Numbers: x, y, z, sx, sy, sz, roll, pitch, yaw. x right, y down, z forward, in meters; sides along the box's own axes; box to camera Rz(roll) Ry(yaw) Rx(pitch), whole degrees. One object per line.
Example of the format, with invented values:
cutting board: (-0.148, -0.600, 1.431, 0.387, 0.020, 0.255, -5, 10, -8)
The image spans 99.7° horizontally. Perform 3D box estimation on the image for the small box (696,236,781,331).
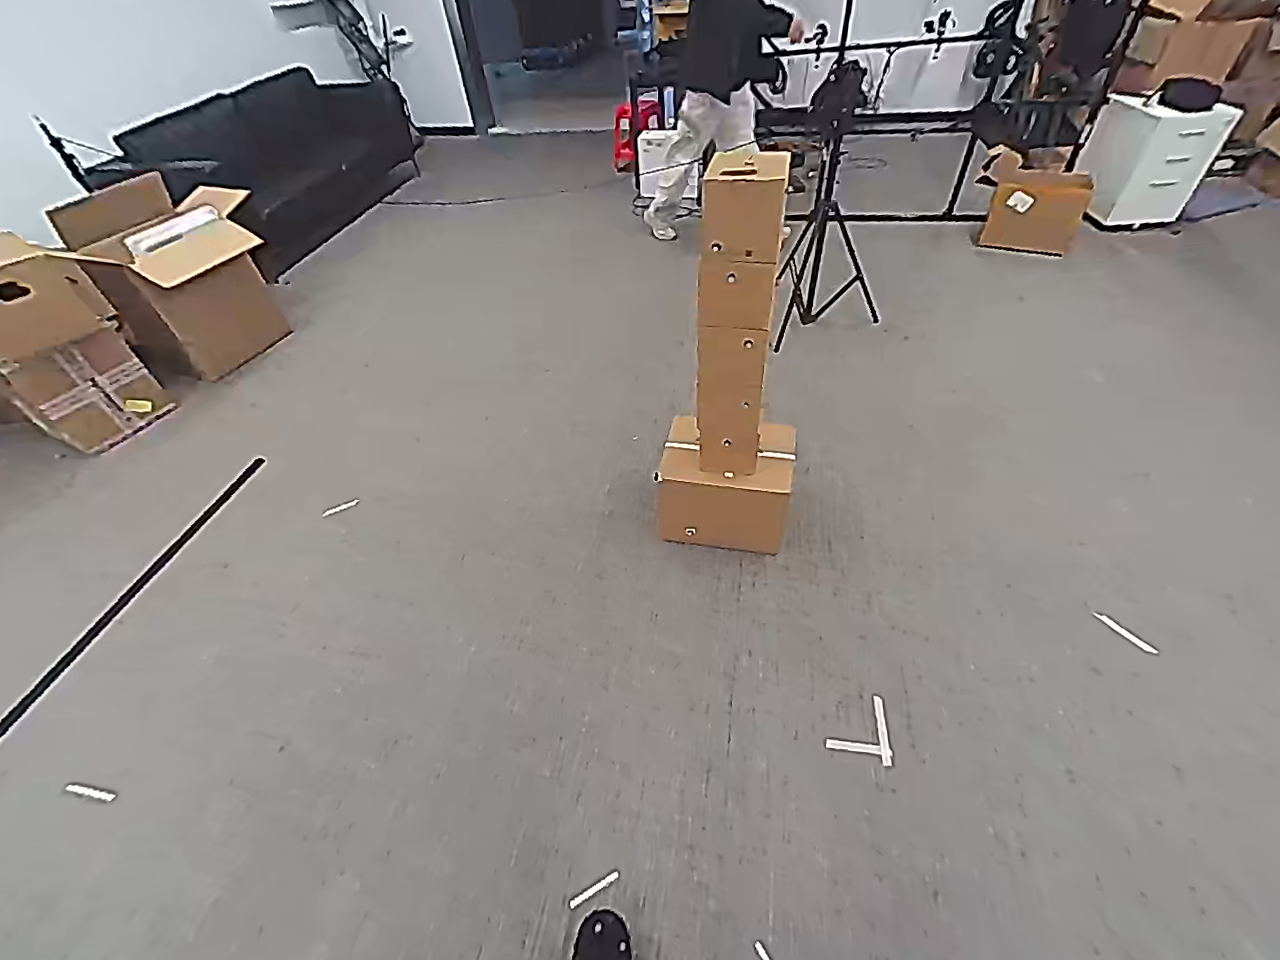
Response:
small box: (0.234, -0.475, 1.300, 0.179, 0.176, 0.168, 7, 48, 13)

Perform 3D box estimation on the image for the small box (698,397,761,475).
small box: (0.271, -0.133, 1.649, 0.179, 0.176, 0.168, 5, 48, 9)

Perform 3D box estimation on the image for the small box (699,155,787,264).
small box: (0.225, -0.589, 1.182, 0.168, 0.176, 0.179, 7, 47, 13)

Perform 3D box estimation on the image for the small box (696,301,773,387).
small box: (0.246, -0.362, 1.415, 0.179, 0.176, 0.168, 7, 47, 13)
